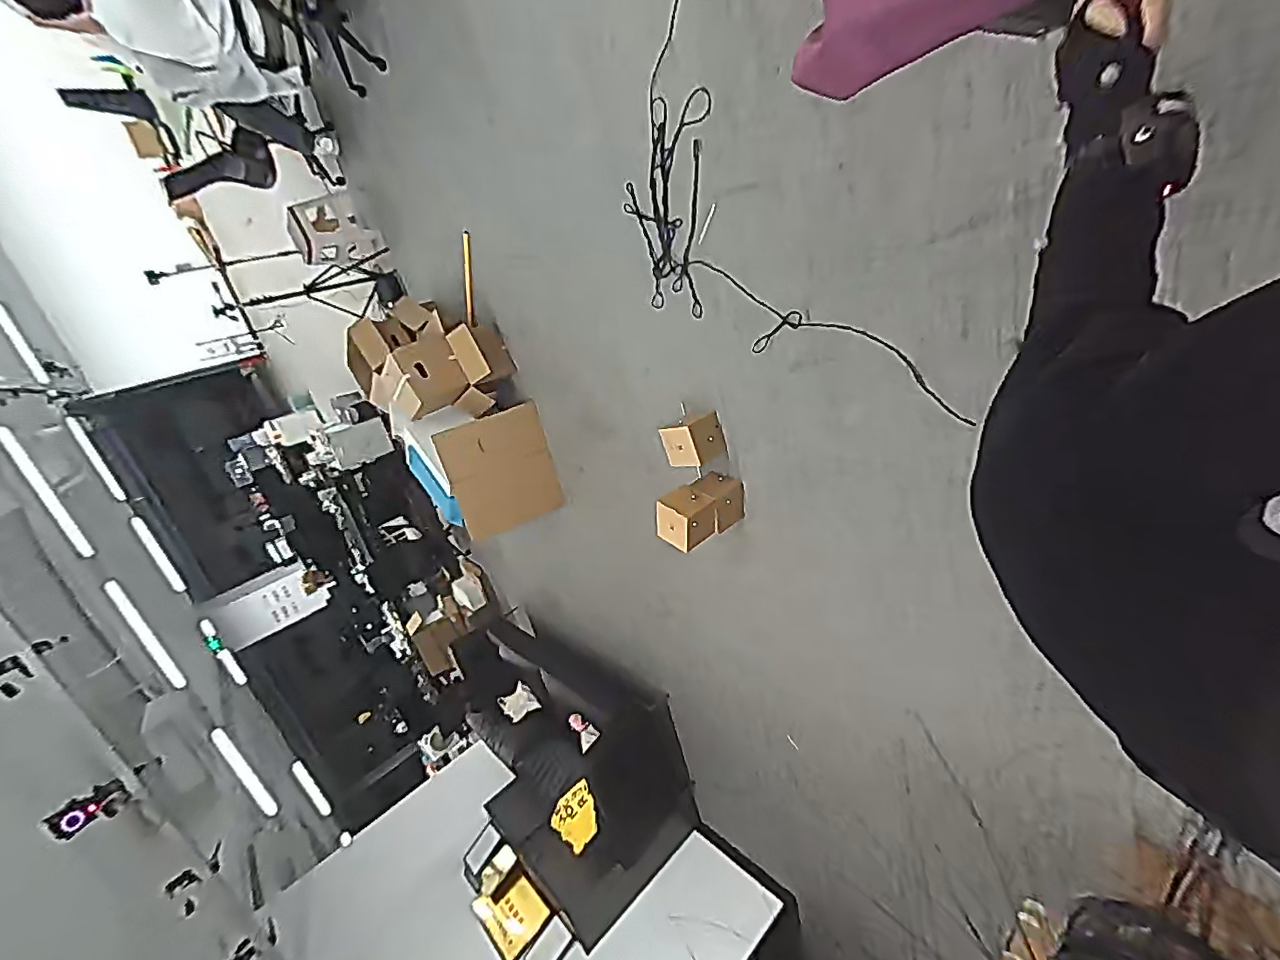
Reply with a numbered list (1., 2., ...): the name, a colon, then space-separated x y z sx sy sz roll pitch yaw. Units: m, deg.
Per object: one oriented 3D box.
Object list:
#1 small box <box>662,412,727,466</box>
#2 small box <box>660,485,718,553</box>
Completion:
1. small box: 0.224 -0.163 2.153 0.179 0.176 0.168 1 115 53
2. small box: 0.194 0.149 2.138 0.168 0.176 0.179 29 135 39
